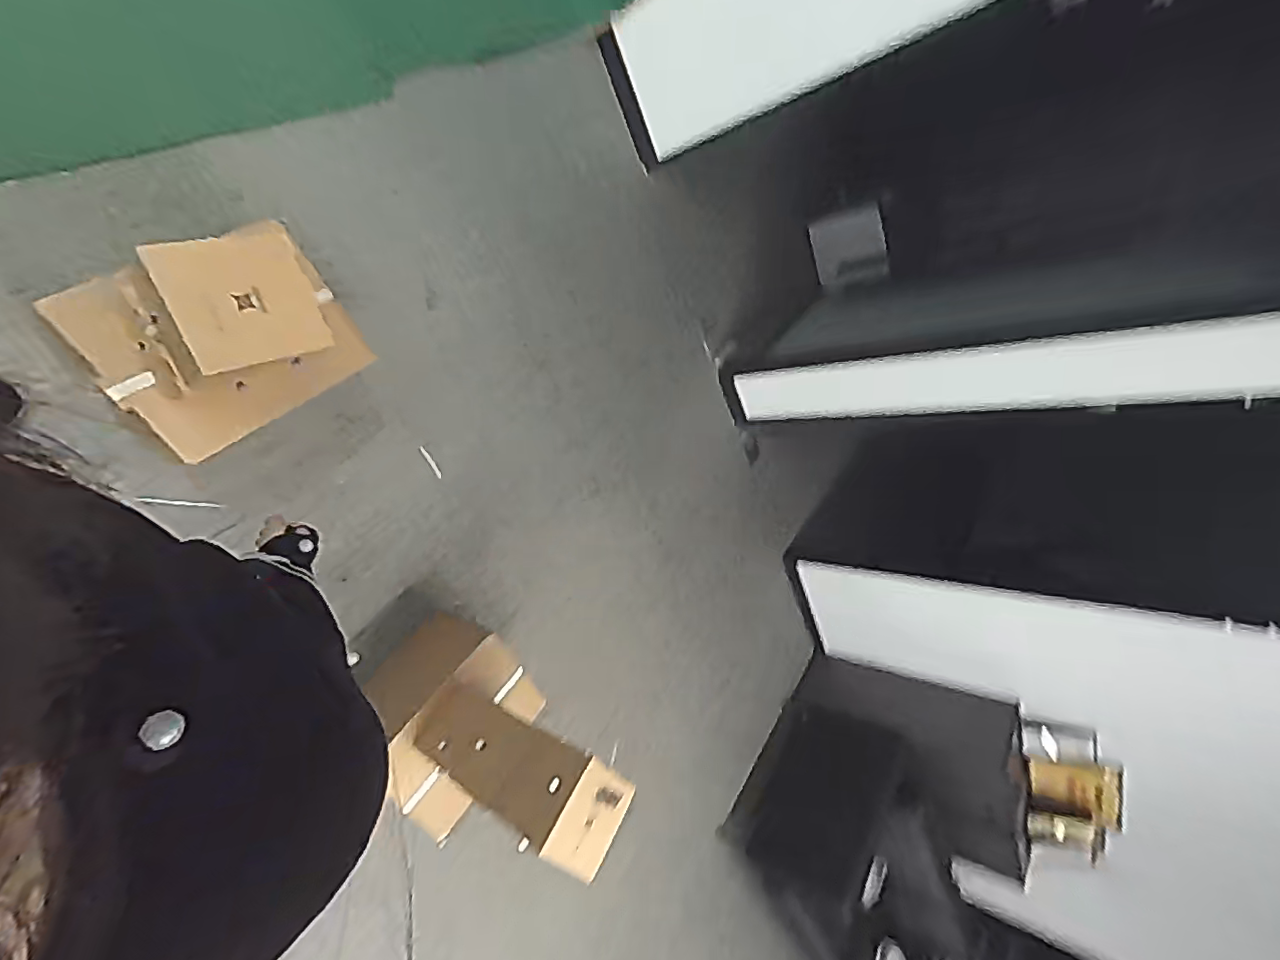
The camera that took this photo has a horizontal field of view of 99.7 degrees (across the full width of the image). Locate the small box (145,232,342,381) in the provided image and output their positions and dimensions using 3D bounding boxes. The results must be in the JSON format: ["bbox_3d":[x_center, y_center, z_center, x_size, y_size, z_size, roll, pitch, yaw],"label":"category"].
[{"bbox_3d":[-0.586,-0.253,0.801,0.179,0.176,0.168,-30,112,-40],"label":"small box"}]

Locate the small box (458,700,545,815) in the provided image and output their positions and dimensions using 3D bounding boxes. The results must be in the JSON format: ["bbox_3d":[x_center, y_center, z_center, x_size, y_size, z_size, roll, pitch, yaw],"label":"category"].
[{"bbox_3d":[-0.271,0.622,1.189,0.179,0.176,0.168,-54,127,-29],"label":"small box"}]

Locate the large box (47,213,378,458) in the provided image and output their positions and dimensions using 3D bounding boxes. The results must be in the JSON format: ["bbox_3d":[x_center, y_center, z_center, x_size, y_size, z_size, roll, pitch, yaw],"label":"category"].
[{"bbox_3d":[-0.852,-0.282,1.111,0.408,0.320,0.320,-47,124,-35],"label":"large box"}]

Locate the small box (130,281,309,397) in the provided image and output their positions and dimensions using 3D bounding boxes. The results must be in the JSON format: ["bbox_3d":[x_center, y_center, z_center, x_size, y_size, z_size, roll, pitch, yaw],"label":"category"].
[{"bbox_3d":[-0.707,-0.248,0.911,0.179,0.176,0.168,-35,115,-39],"label":"small box"}]

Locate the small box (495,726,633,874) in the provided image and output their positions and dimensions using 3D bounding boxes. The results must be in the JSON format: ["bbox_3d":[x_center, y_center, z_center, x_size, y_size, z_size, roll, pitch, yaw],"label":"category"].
[{"bbox_3d":[-0.152,0.625,1.074,0.179,0.176,0.168,-55,126,-28],"label":"small box"}]
